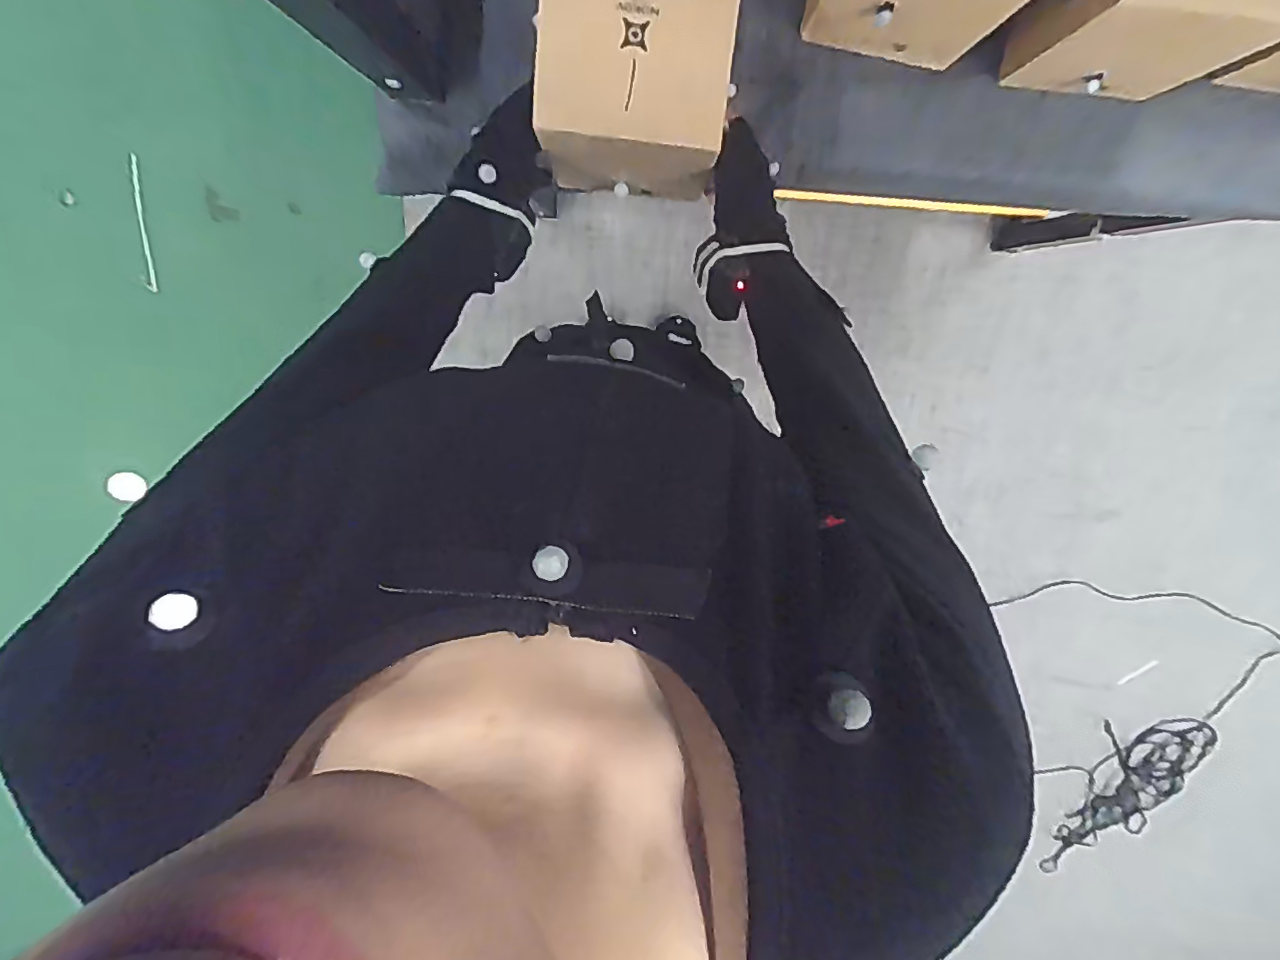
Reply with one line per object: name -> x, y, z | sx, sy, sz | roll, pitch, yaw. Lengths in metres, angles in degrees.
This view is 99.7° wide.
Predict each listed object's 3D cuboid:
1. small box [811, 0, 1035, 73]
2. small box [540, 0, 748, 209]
small box -> 0.271, -0.516, 0.495 | 0.168, 0.176, 0.179 | 11, 107, -2
small box -> 0.002, -0.390, 0.530 | 0.168, 0.176, 0.179 | 6, 103, -2
